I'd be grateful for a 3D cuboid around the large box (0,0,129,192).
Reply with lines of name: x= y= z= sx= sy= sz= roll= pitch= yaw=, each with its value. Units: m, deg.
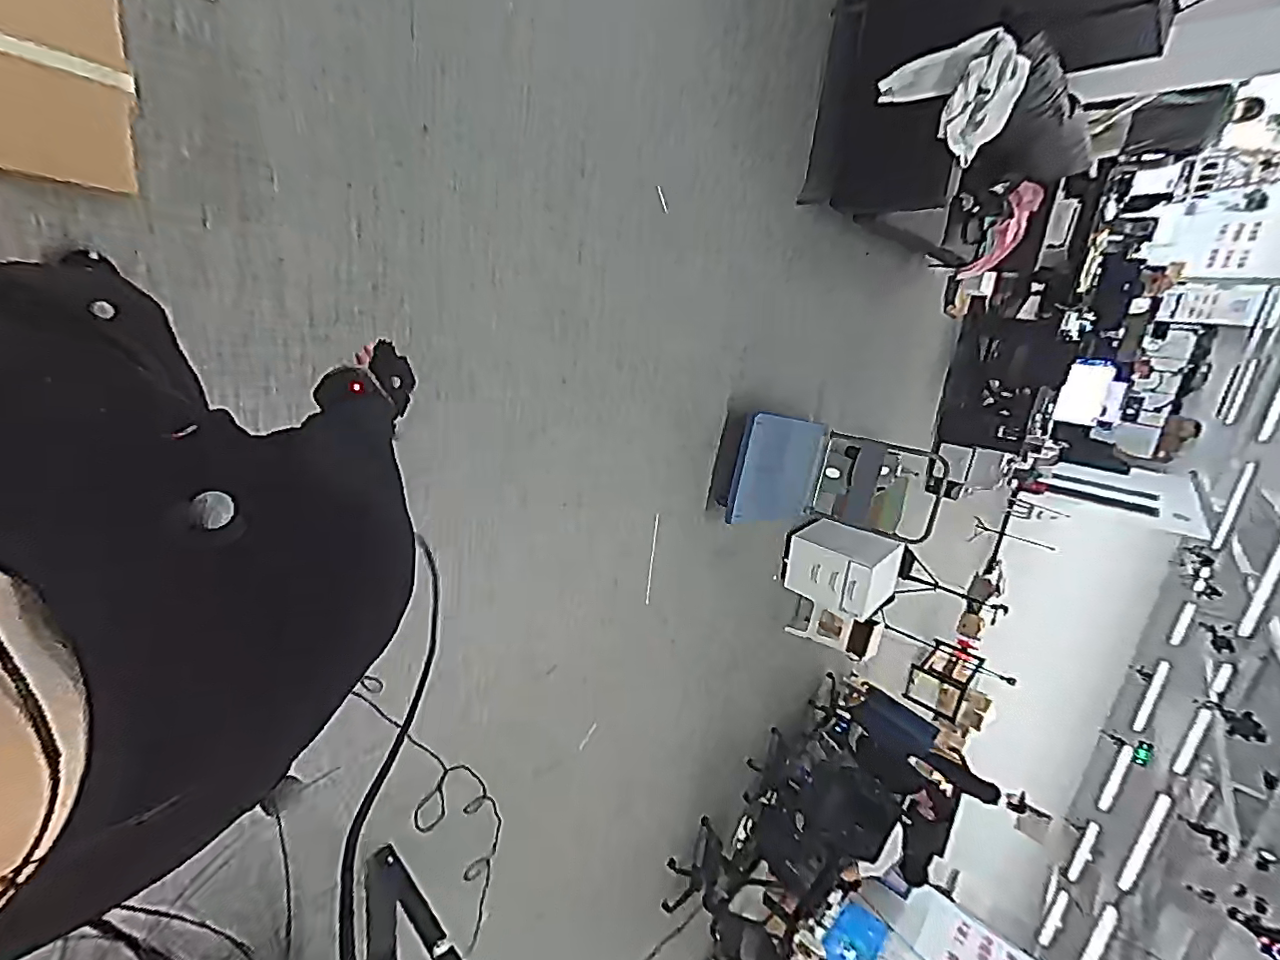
large box: x=-1.025 y=-0.629 z=0.763 sx=0.408 sy=0.320 sz=0.320 roll=-8 pitch=111 yaw=-46
